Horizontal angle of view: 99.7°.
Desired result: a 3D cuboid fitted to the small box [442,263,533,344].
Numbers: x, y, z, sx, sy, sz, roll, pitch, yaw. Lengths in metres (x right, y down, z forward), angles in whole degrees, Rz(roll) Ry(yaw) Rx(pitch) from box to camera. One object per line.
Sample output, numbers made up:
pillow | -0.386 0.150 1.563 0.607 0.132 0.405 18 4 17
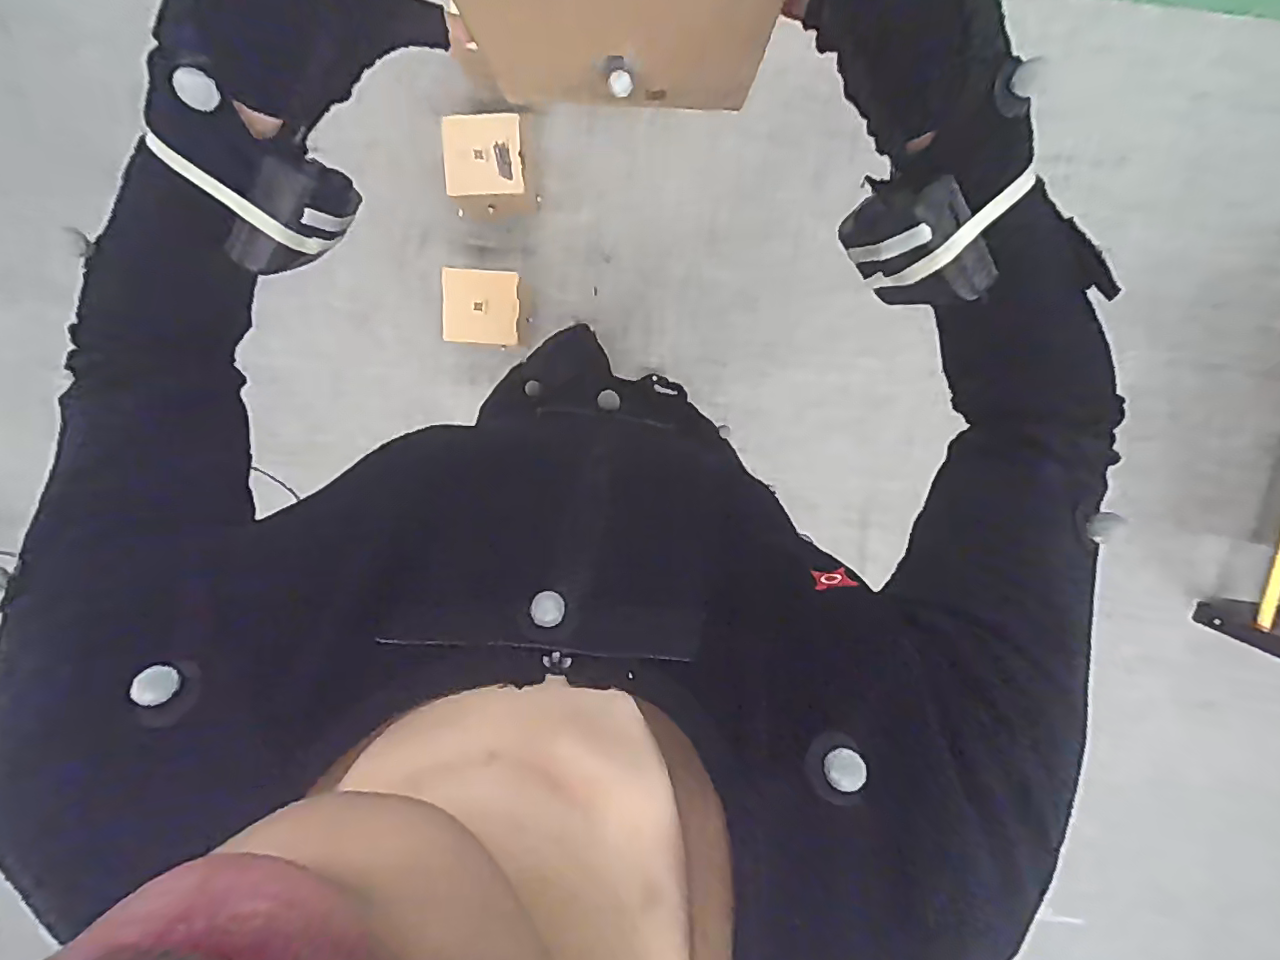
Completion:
small box | -0.366 -0.422 1.316 0.179 0.176 0.168 2 101 -1

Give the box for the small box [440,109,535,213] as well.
small box | -0.345 -0.734 1.259 0.179 0.176 0.168 -1 100 2

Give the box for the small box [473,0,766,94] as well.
small box | -0.012 -0.334 0.269 0.168 0.176 0.179 3 102 1
